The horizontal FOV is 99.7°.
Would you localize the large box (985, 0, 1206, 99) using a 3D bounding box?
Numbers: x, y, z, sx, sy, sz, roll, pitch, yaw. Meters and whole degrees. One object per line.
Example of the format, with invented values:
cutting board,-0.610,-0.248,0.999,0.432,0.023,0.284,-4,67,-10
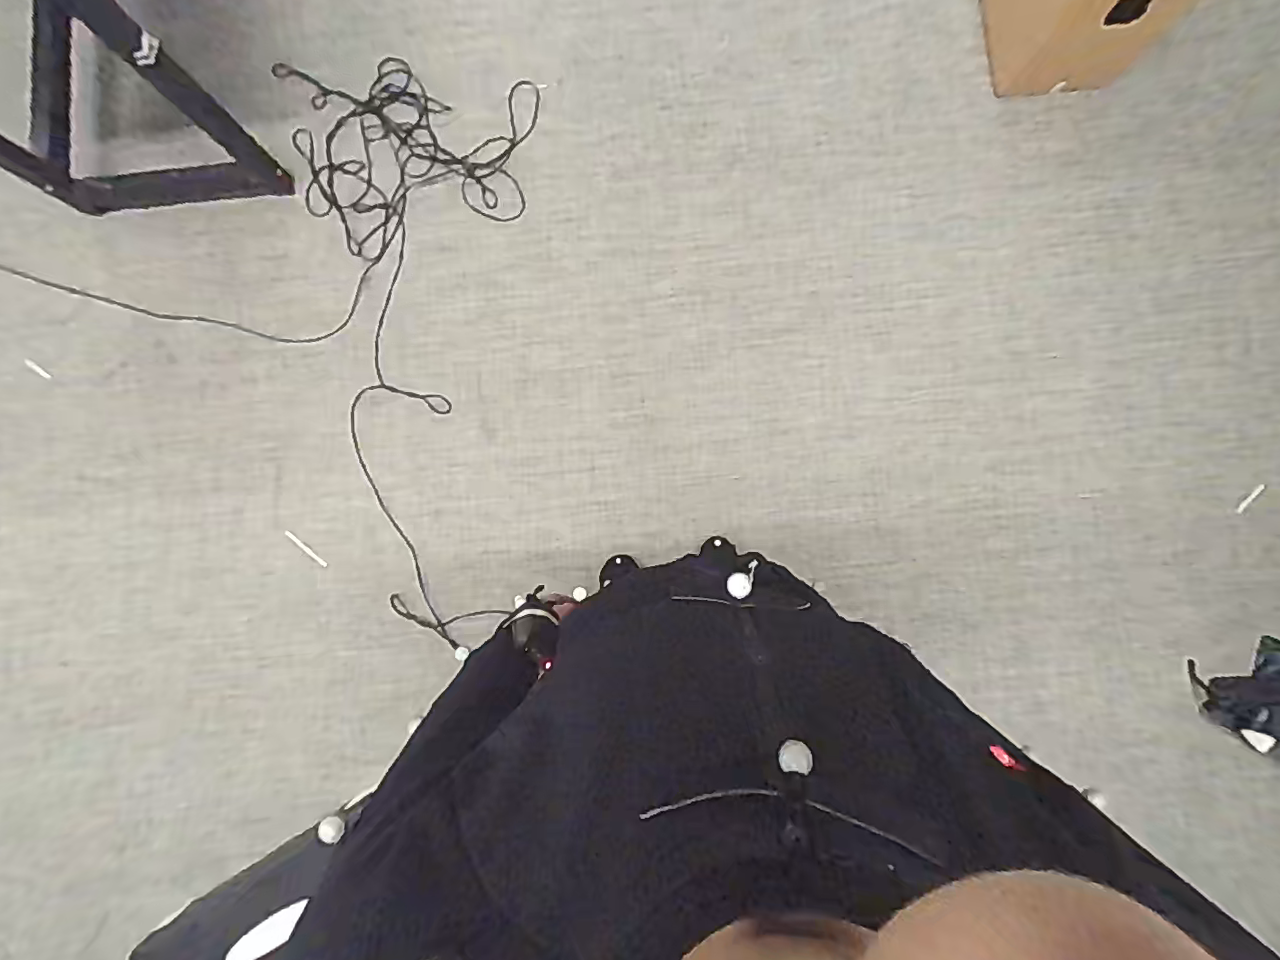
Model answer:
large box,1.107,-1.254,1.333,0.320,0.320,0.408,-6,86,1
